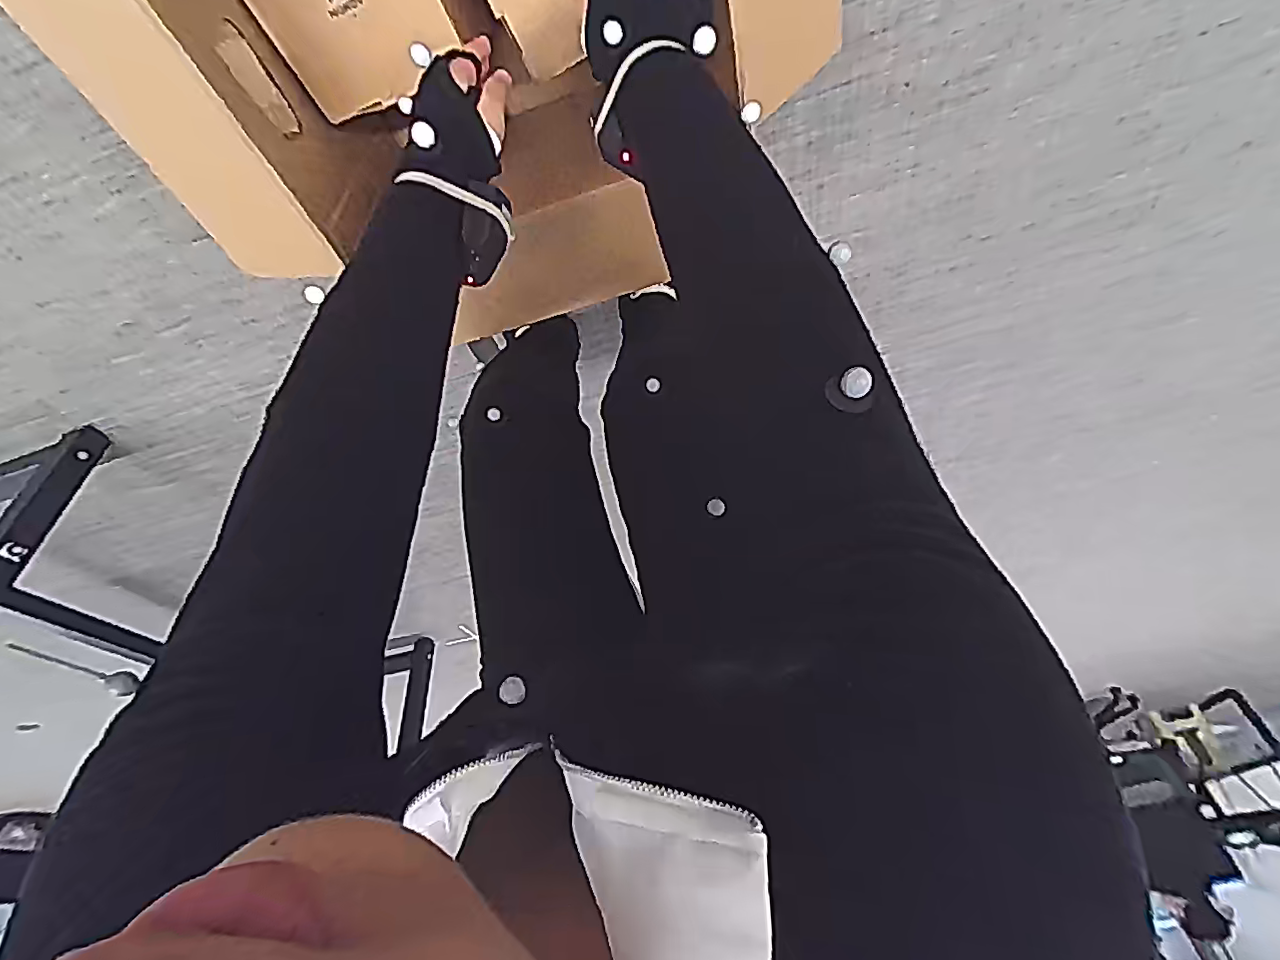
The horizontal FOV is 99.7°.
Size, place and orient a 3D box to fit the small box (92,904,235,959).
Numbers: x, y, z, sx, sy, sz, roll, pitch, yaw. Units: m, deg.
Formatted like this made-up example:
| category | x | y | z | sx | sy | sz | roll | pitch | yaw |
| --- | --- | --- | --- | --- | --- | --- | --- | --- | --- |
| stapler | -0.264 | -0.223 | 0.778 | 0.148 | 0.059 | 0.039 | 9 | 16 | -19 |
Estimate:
| category | x | y | z | sx | sy | sz | roll | pitch | yaw |
| --- | --- | --- | --- | --- | --- | --- | --- | --- | --- |
| small box | -1.019 | 1.012 | 1.141 | 0.168 | 0.176 | 0.179 | -14 | 140 | 10 |
